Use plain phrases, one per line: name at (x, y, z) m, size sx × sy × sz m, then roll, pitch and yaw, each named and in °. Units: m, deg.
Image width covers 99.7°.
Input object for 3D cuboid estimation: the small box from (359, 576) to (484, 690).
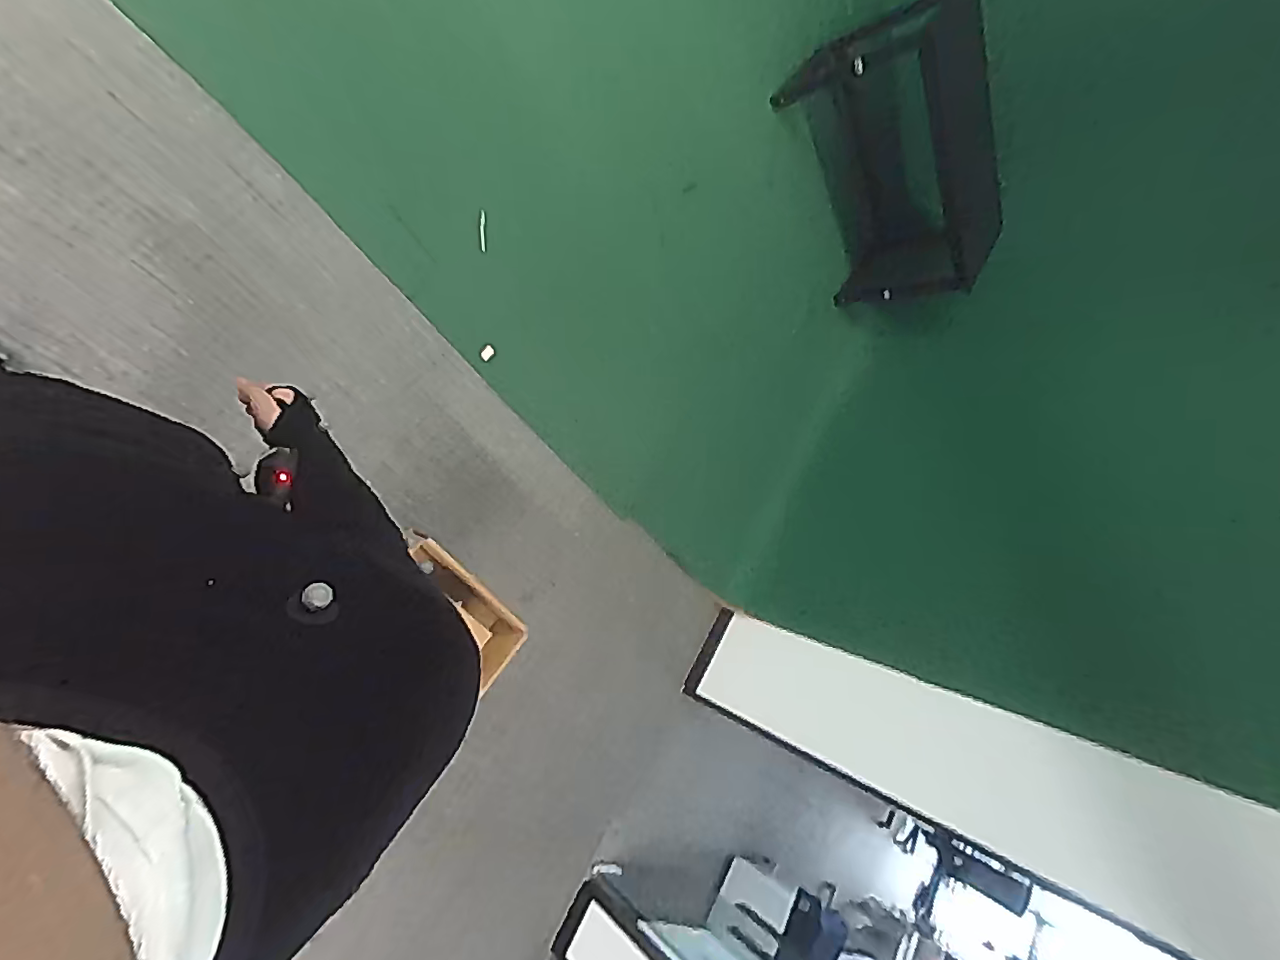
small box at (-0.501, 0.338, 1.234) m, size 0.168 × 0.176 × 0.179 m, roll -51°, pitch 129°, yaw -24°
